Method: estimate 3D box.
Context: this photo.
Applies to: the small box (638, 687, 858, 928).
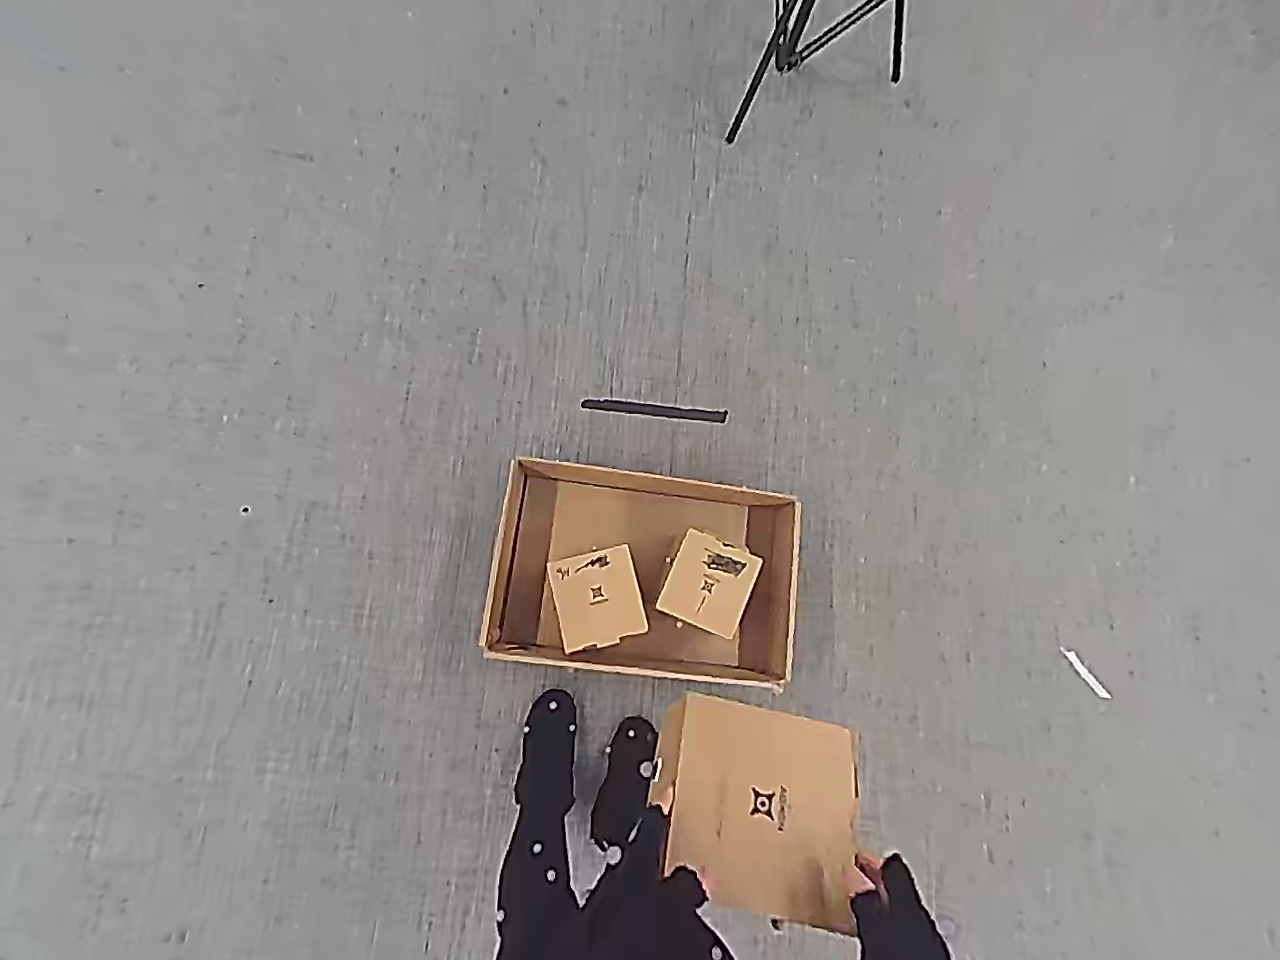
[{"bbox_3d":[0.105,0.332,0.566,0.179,0.176,0.168,13,58,0],"label":"small box"}]
